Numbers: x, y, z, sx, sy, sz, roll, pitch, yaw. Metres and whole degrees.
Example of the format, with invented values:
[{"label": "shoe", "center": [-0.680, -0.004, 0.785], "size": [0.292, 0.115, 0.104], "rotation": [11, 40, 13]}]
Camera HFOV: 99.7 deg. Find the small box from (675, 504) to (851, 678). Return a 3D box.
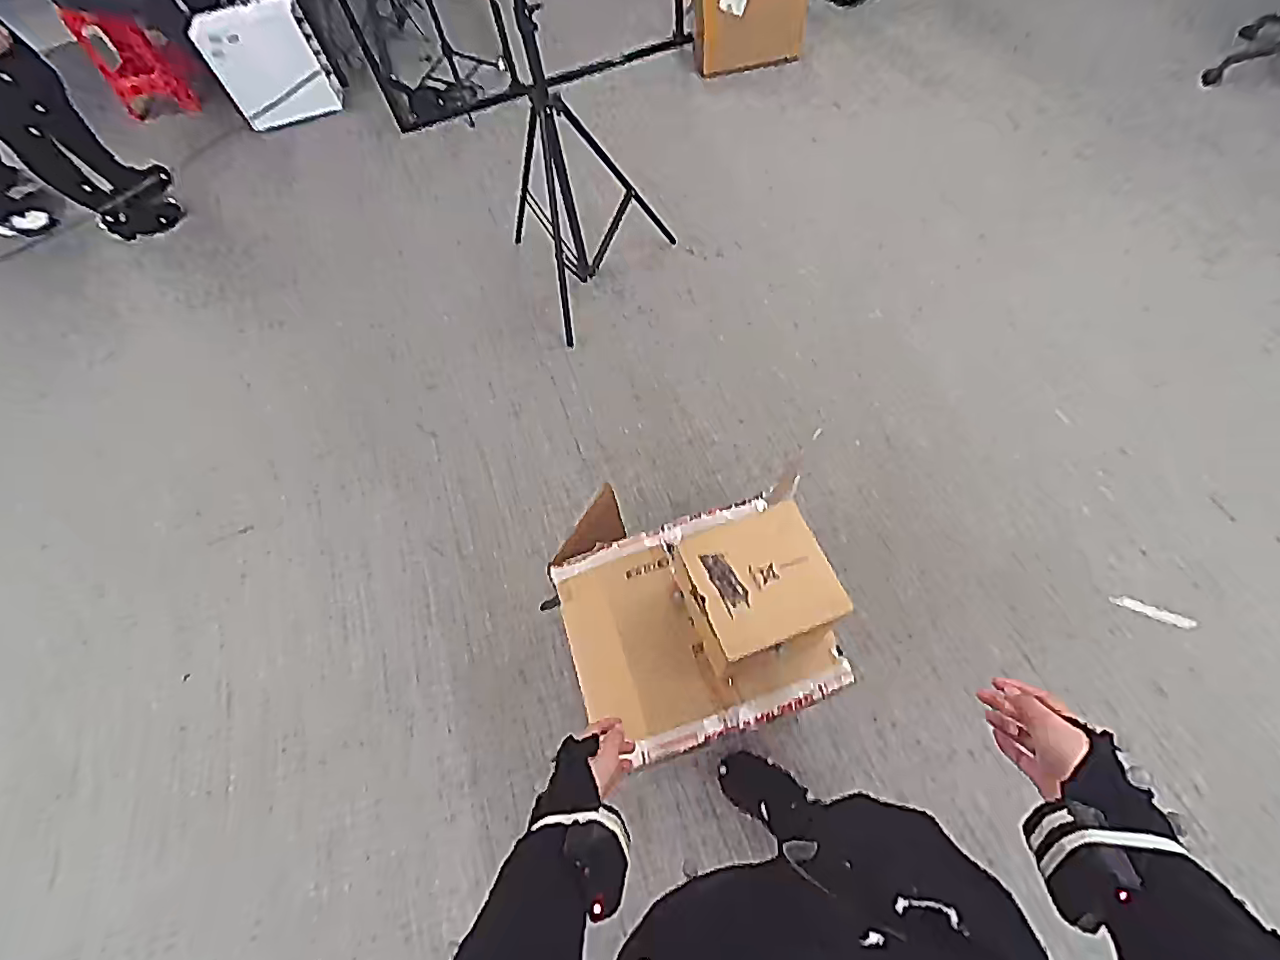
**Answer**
[{"label": "small box", "center": [0.161, 0.165, 0.764], "size": [0.179, 0.176, 0.168], "rotation": [-20, 63, -7]}]
